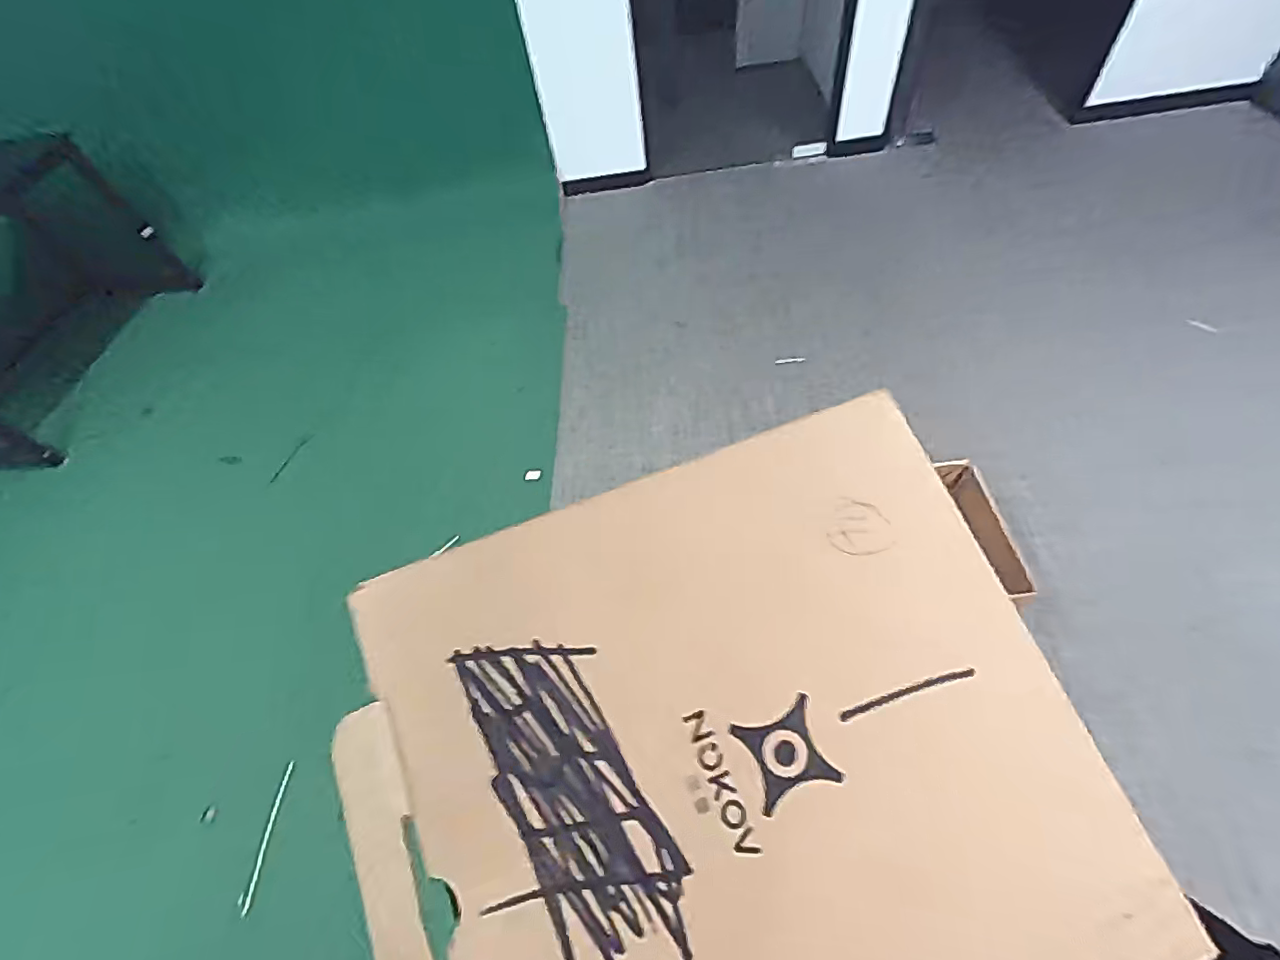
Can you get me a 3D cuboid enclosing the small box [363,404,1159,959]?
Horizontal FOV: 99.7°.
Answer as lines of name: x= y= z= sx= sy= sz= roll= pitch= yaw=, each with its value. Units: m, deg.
small box: x=0.024 y=0.099 z=0.226 sx=0.179 sy=0.176 sz=0.168 roll=-20 pitch=74 yaw=-8
